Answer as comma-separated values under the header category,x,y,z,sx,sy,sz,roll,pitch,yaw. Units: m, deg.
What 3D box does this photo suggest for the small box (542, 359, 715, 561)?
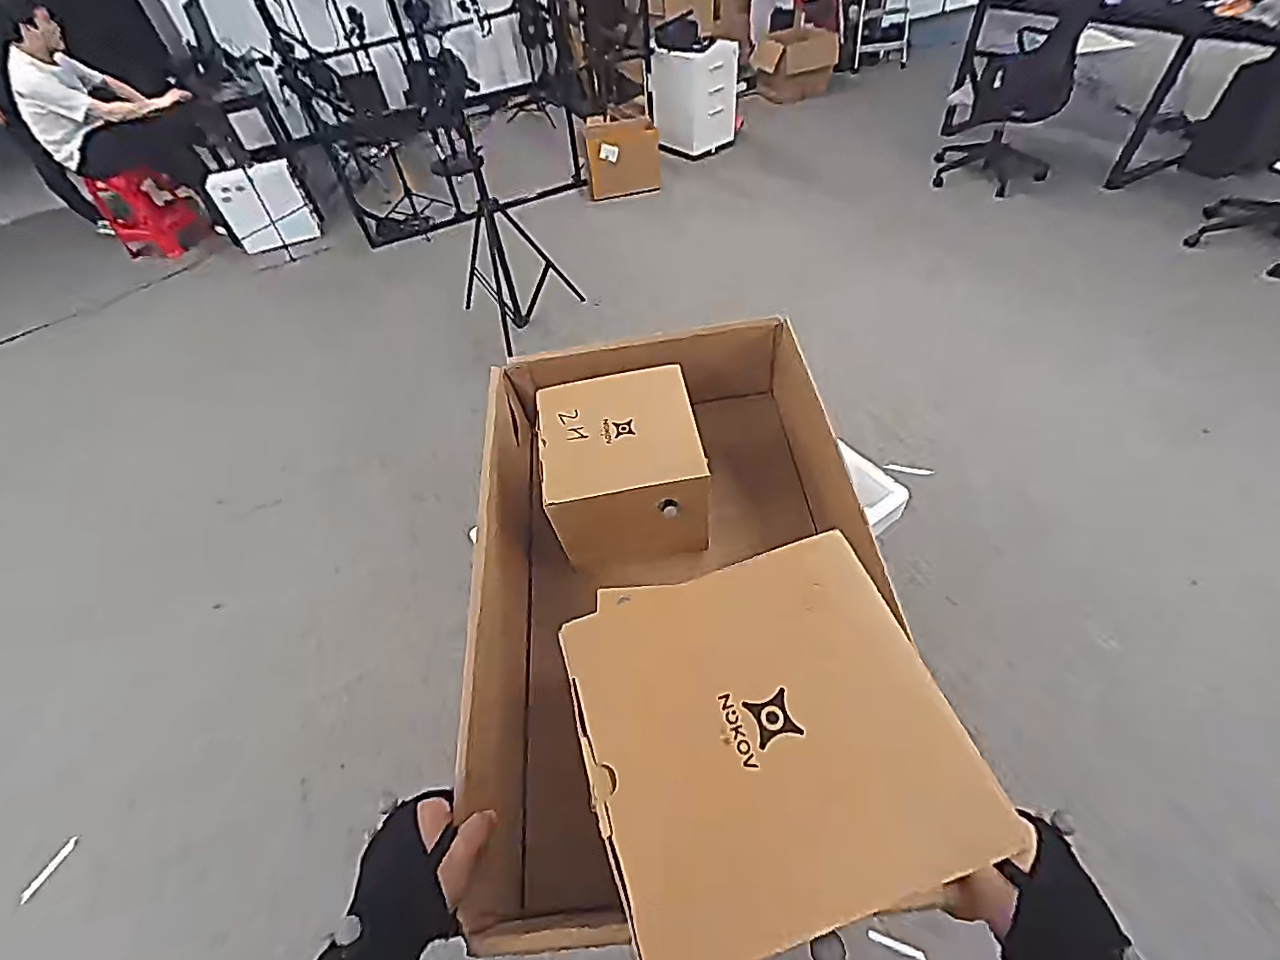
category,x,y,z,sx,sy,sz,roll,pitch,yaw
small box,-0.013,-0.019,0.662,0.179,0.176,0.168,-10,55,0
